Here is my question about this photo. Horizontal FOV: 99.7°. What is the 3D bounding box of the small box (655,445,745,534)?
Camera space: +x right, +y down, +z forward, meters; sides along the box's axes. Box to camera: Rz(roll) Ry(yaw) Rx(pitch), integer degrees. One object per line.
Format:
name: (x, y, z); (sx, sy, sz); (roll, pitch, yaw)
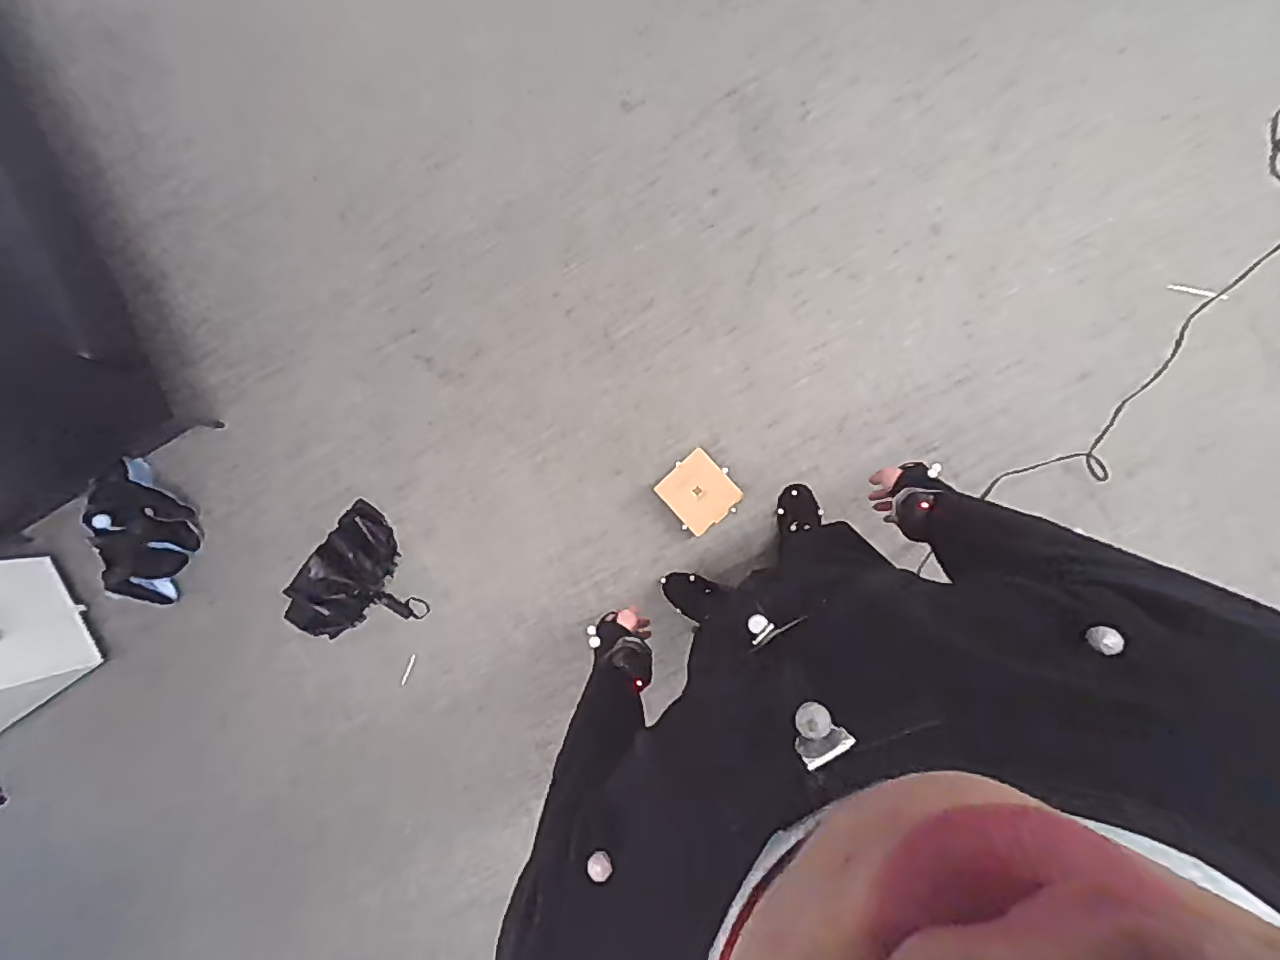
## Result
small box: (0.167, 0.026, 1.479); (0.168, 0.176, 0.179); (-43, 82, 4)
